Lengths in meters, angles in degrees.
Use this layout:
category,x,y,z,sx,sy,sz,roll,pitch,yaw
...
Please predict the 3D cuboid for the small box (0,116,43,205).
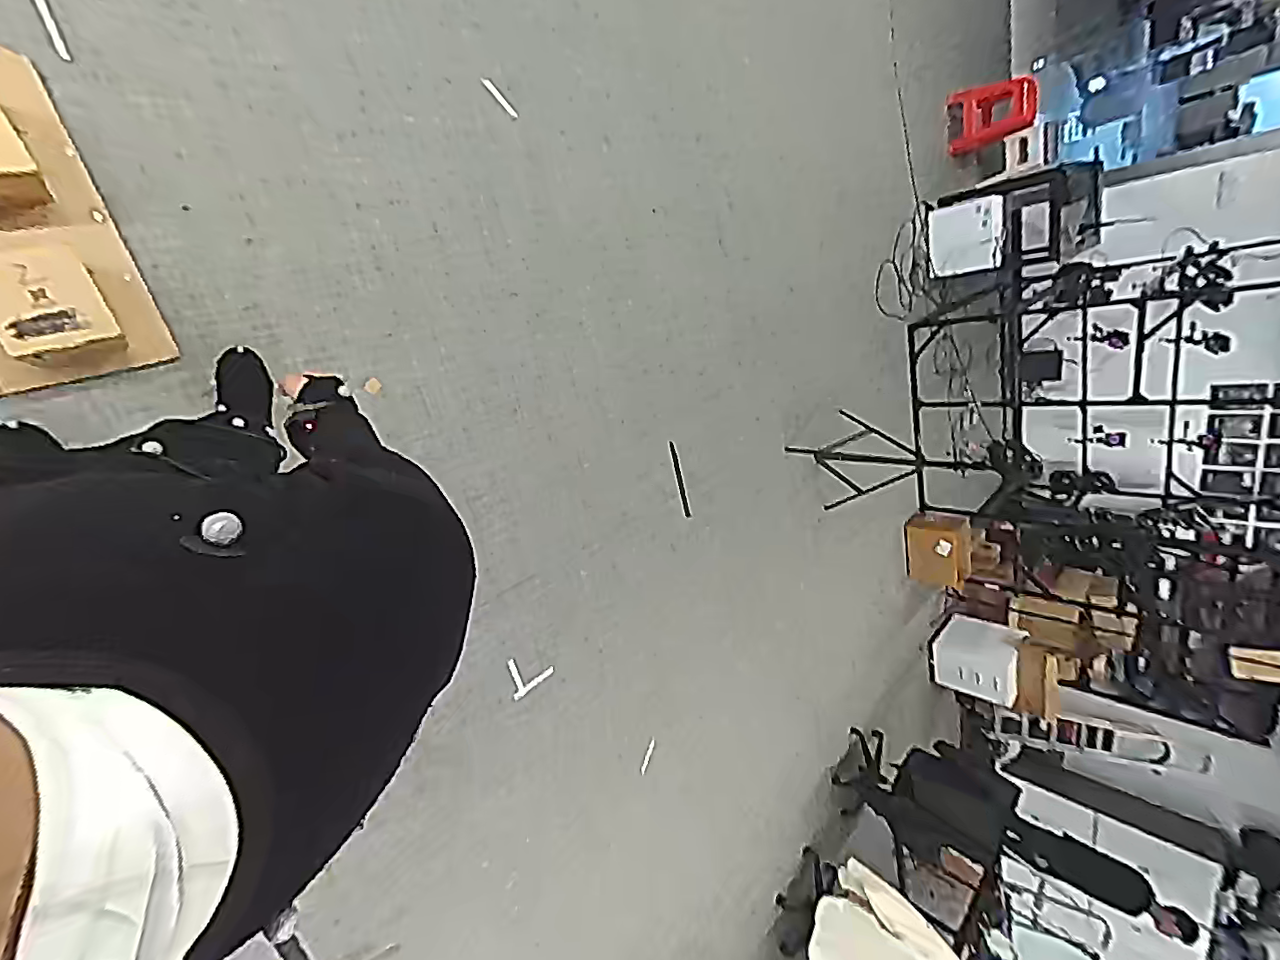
category,x,y,z,sx,sy,sz,roll,pitch,yaw
small box,-1.220,-0.600,0.951,0.168,0.176,0.179,-33,116,-34
